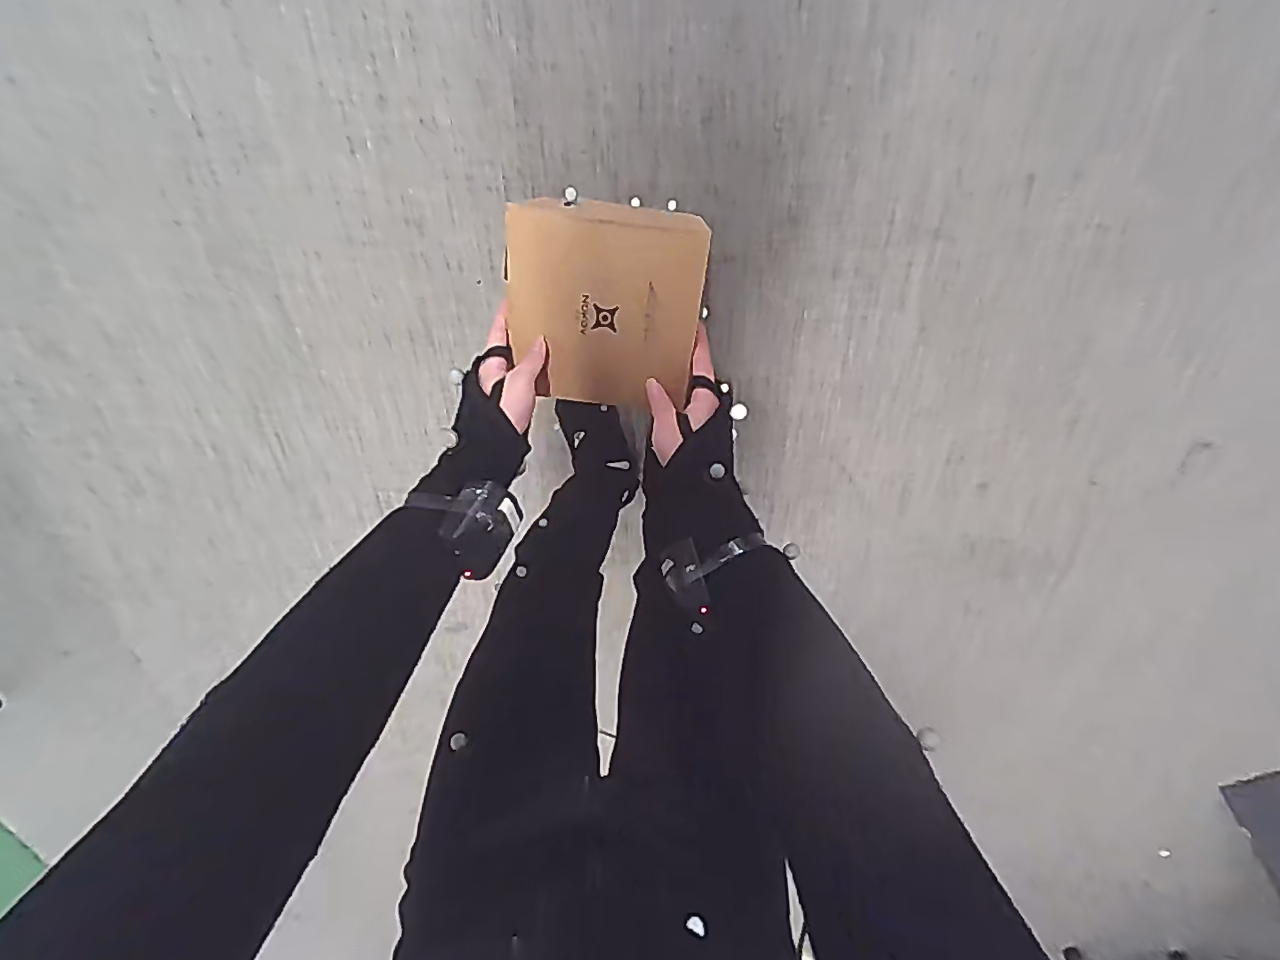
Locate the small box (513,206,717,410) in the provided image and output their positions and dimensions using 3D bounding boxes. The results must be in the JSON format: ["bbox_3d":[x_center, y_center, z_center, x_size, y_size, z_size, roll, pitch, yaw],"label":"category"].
[{"bbox_3d":[-0.025,-0.186,0.562,0.179,0.176,0.168,5,119,-1],"label":"small box"}]
